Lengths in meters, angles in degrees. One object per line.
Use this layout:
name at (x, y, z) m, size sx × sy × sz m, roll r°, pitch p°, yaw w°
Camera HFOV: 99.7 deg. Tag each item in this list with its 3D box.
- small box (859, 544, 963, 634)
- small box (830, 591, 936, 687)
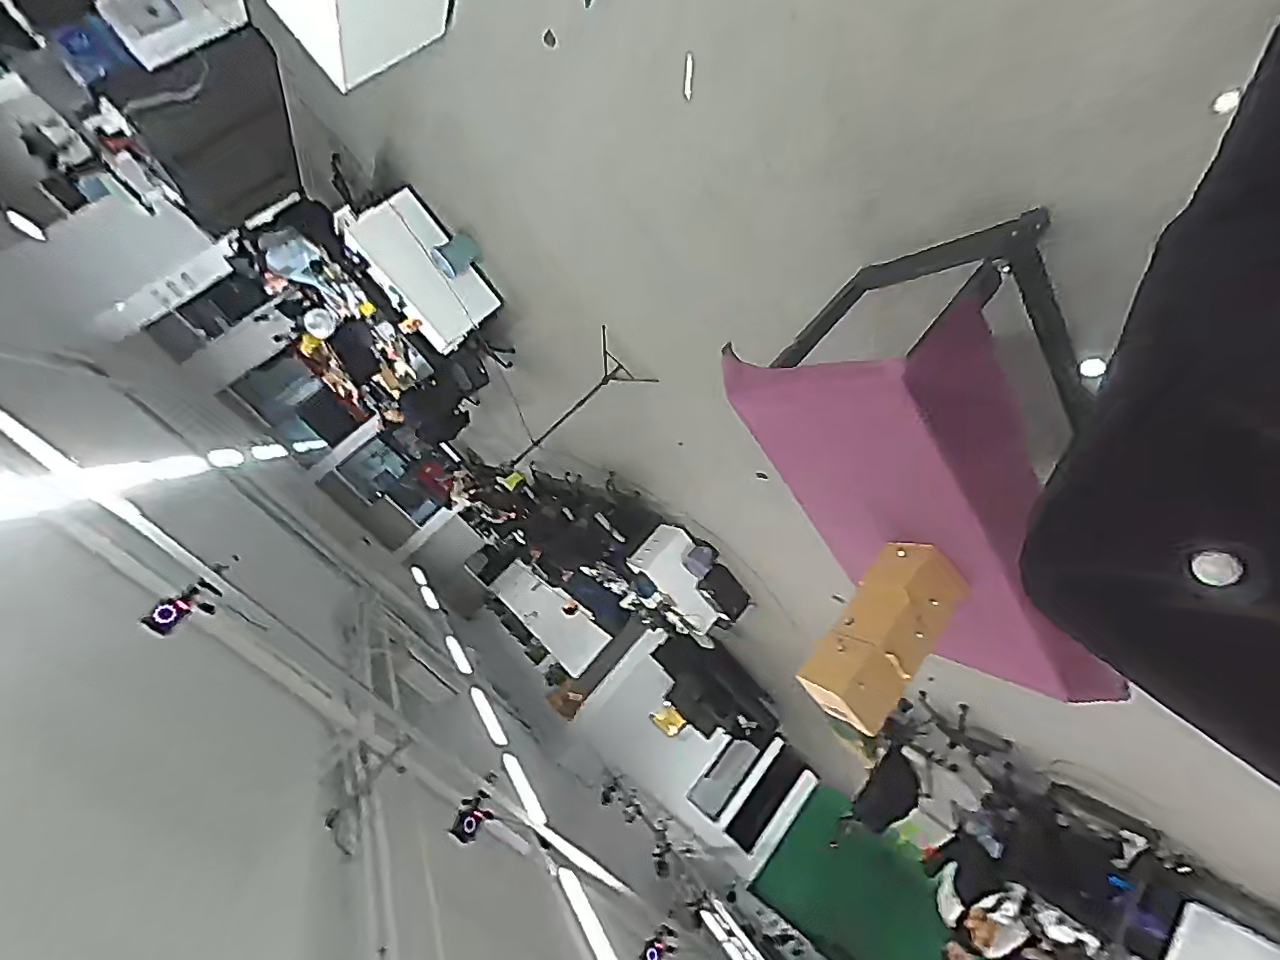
small box at (0.775, 0.304, 1.541) m, size 0.179 × 0.176 × 0.168 m, roll 48°, pitch 161°, yaw -11°
small box at (0.677, 0.433, 1.504) m, size 0.168 × 0.176 × 0.179 m, roll 49°, pitch 162°, yaw -17°
